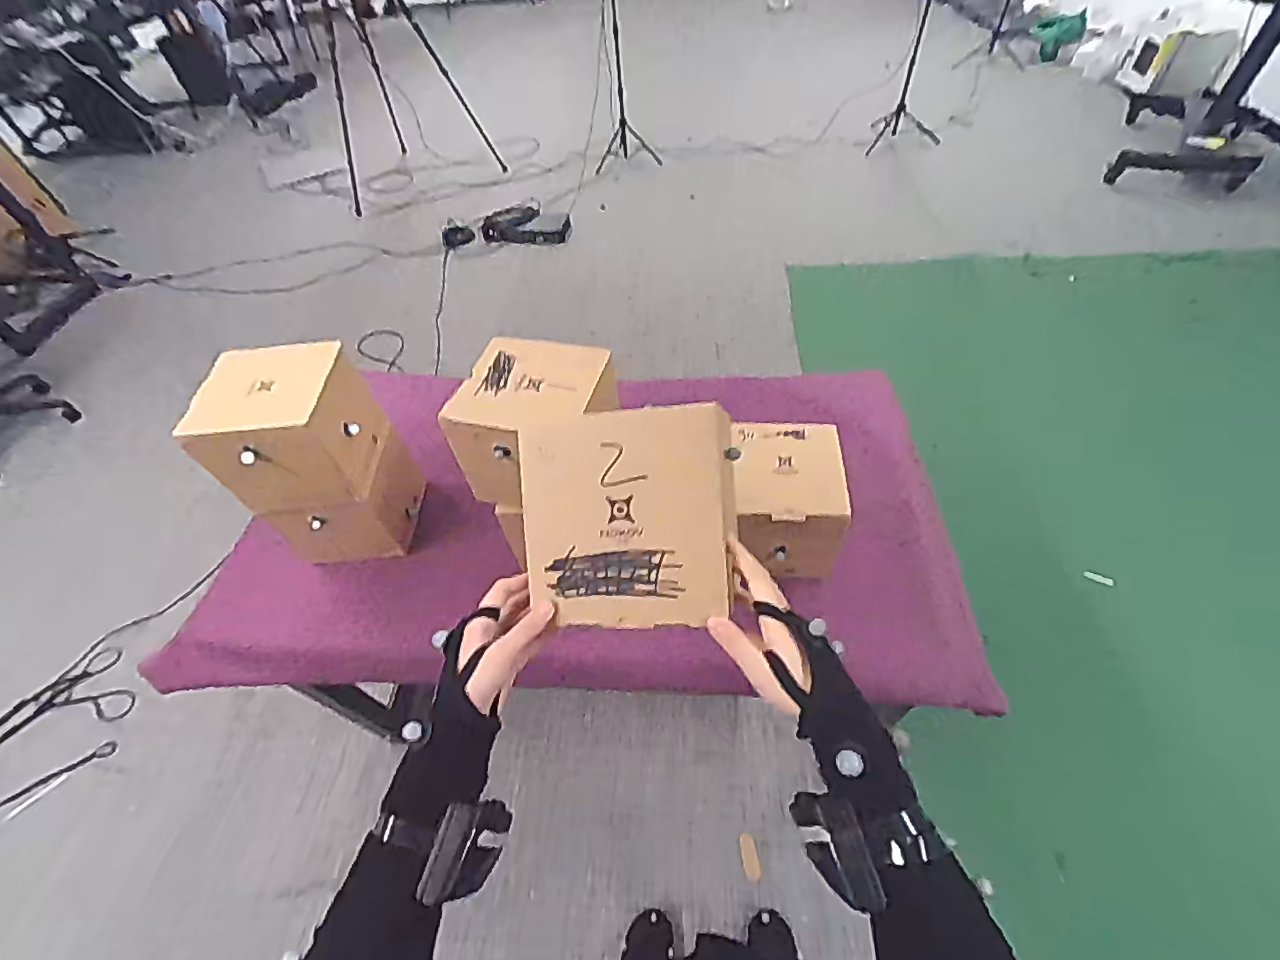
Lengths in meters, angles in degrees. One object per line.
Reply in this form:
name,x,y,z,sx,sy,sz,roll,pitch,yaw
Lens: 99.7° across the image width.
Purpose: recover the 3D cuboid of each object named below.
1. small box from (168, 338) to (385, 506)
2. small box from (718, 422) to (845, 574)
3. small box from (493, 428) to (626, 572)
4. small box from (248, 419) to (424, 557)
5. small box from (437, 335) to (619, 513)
small box,-0.497,-0.079,0.777,0.179,0.176,0.168,-6,52,1
small box,0.209,0.031,0.837,0.168,0.176,0.179,2,52,7
small box,-0.116,0.027,0.867,0.168,0.176,0.179,1,52,6
small box,-0.492,0.018,0.906,0.179,0.176,0.168,-4,52,1
small box,-0.137,-0.074,0.739,0.179,0.176,0.168,10,53,12
